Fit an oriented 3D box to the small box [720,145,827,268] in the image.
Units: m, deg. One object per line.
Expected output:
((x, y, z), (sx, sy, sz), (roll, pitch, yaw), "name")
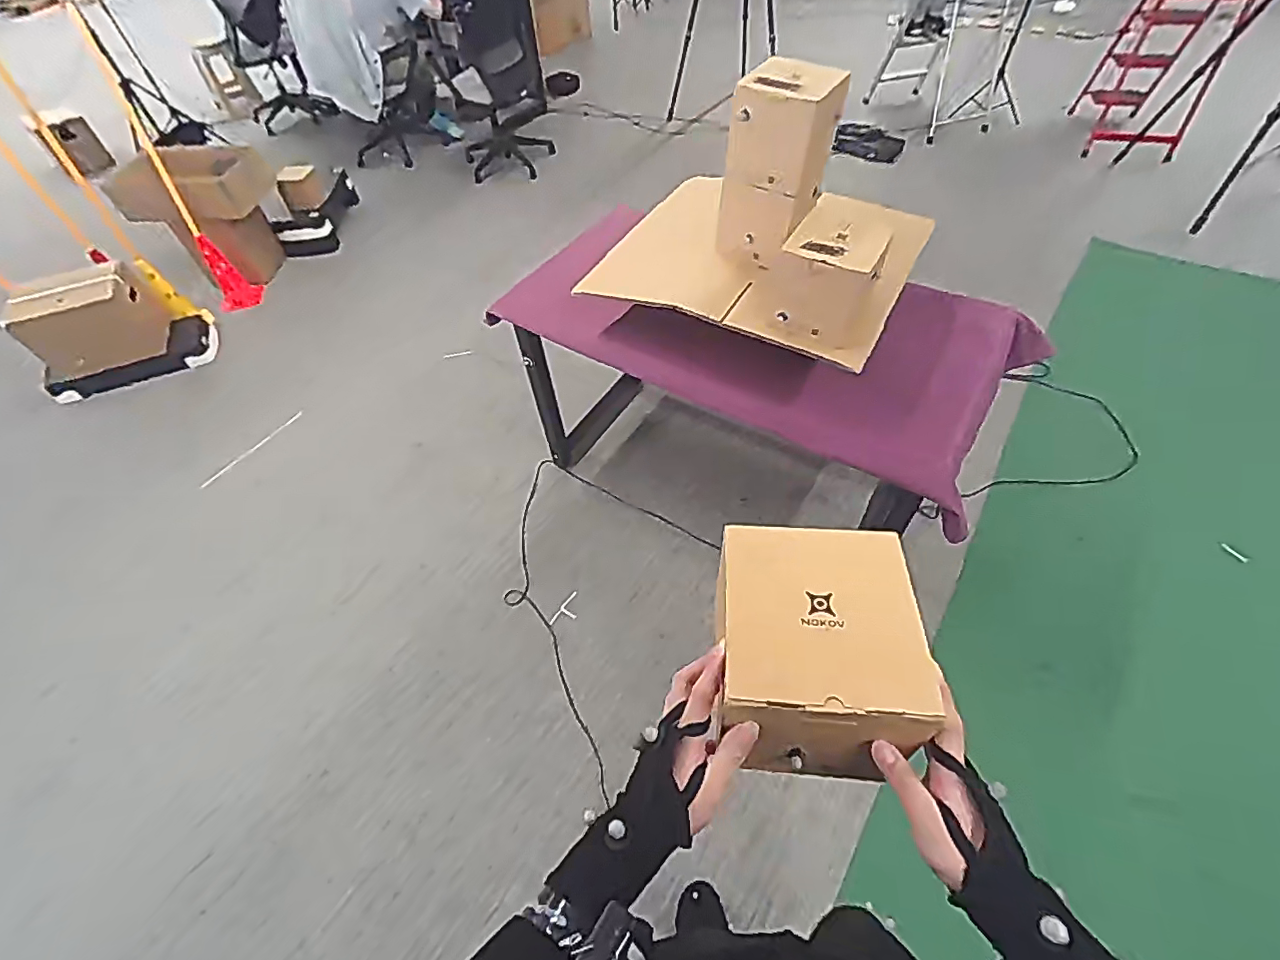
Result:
((0.291, -0.610, 1.211), (0.168, 0.176, 0.179), (27, 60, 19), "small box")

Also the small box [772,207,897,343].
((0.372, -0.398, 1.059), (0.168, 0.176, 0.179), (26, 58, 19), "small box")
